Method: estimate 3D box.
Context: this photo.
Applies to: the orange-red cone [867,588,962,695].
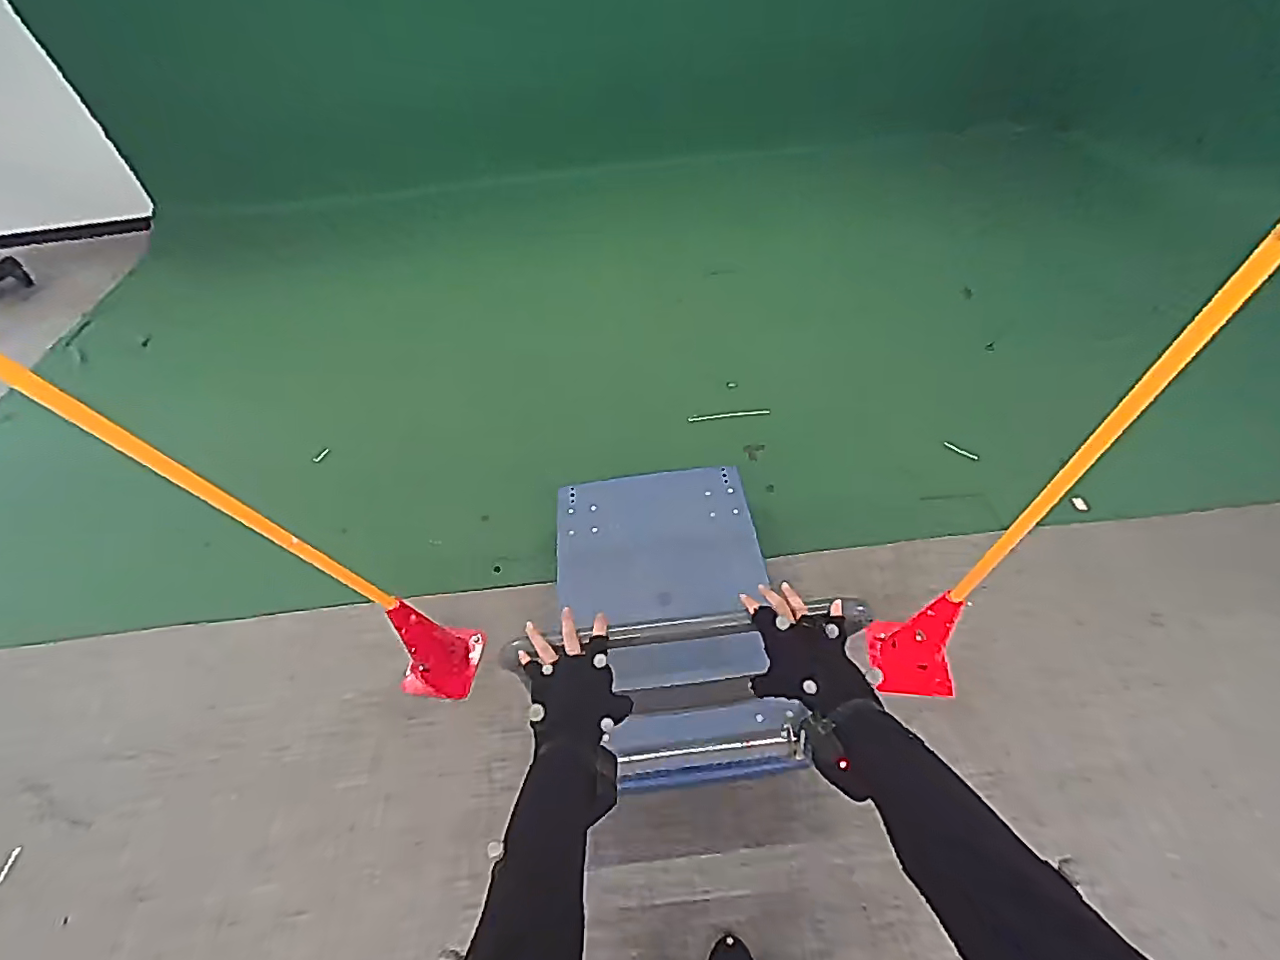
[{"bbox_3d":[0.711,0.368,1.330,0.198,0.360,0.199,2,51,8],"label":"orange-red cone"}]
